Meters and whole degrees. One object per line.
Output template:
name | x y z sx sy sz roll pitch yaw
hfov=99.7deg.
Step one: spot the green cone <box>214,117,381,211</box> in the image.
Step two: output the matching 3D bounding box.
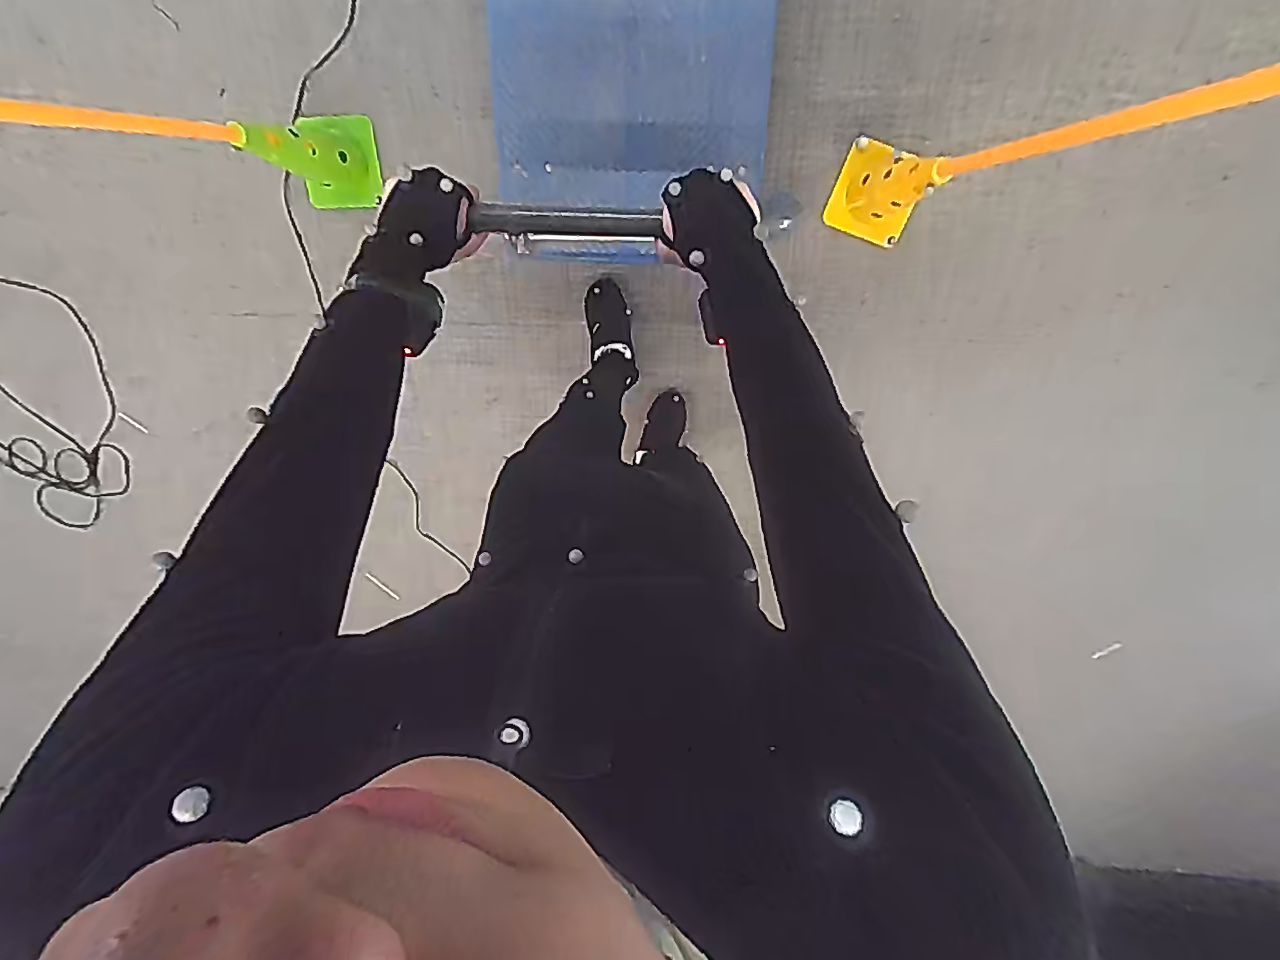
green cone | -0.773 -0.726 1.195 0.202 0.368 0.200 0 112 6
